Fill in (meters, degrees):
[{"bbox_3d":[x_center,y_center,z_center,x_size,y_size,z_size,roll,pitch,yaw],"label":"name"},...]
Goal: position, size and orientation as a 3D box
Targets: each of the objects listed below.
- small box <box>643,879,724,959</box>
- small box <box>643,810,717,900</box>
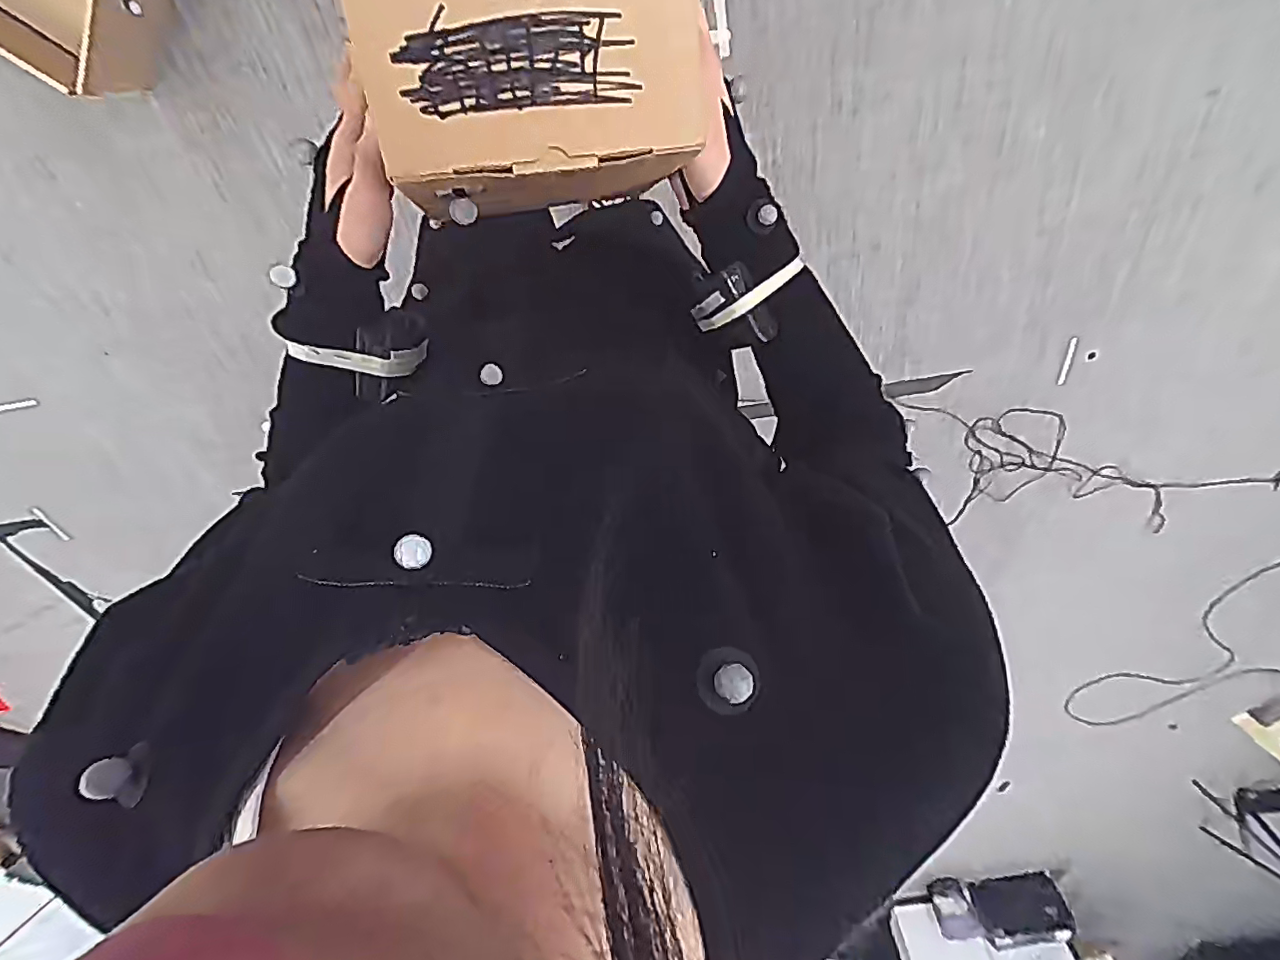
[{"bbox_3d":[0.103,1.078,1.291,0.168,0.176,0.179,-11,125,6],"label":"small box"},{"bbox_3d":[0.103,1.001,1.439,0.168,0.176,0.179,-10,126,5],"label":"small box"}]
